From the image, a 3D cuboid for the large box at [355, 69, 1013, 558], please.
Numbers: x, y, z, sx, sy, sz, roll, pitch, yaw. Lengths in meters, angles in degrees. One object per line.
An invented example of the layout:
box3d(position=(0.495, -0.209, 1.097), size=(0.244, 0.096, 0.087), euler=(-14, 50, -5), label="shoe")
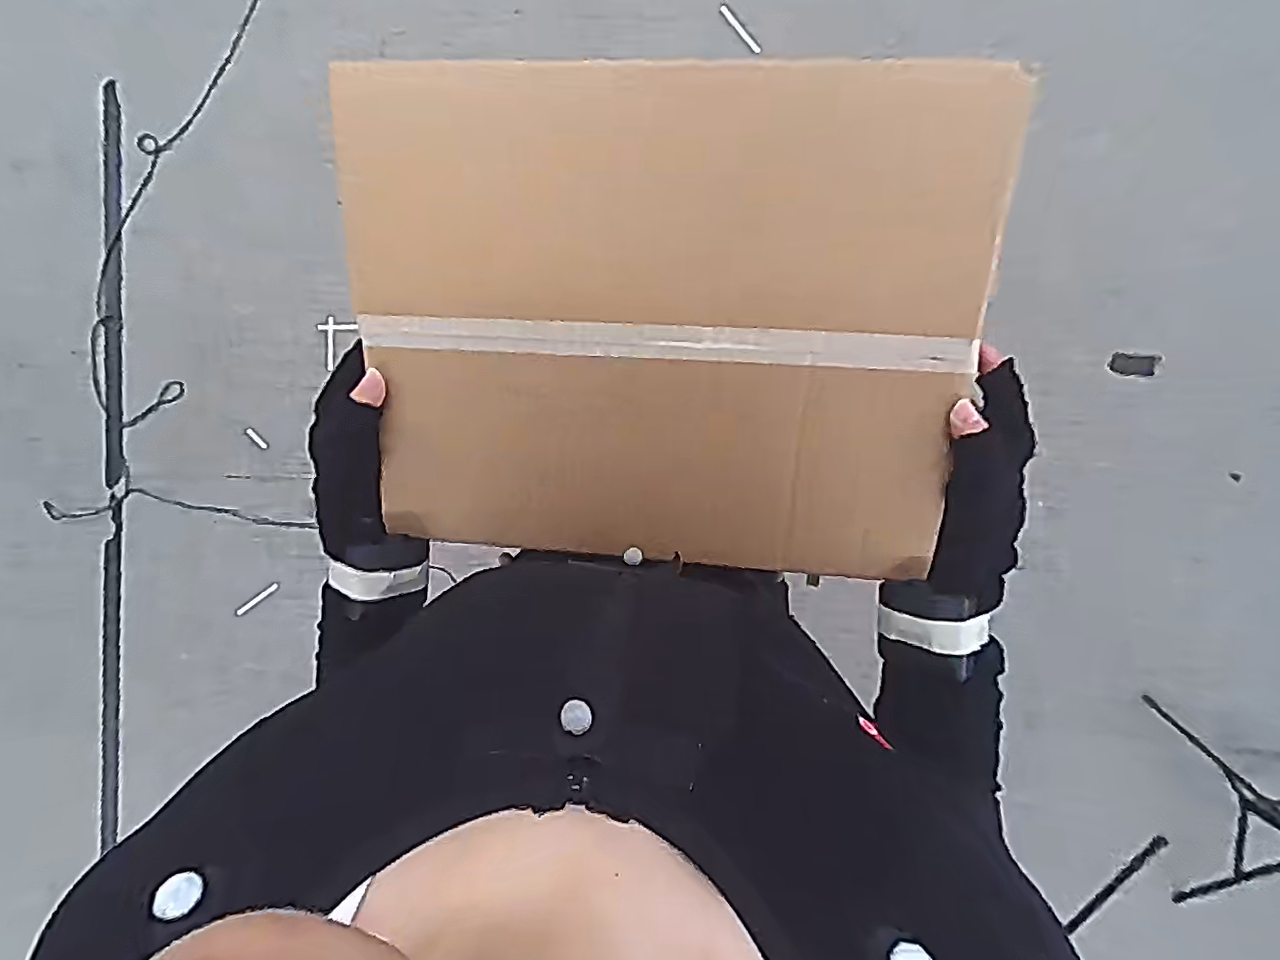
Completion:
box3d(position=(0.025, -0.143, 0.510), size=(0.408, 0.320, 0.320), euler=(4, 110, 5), label="large box")
